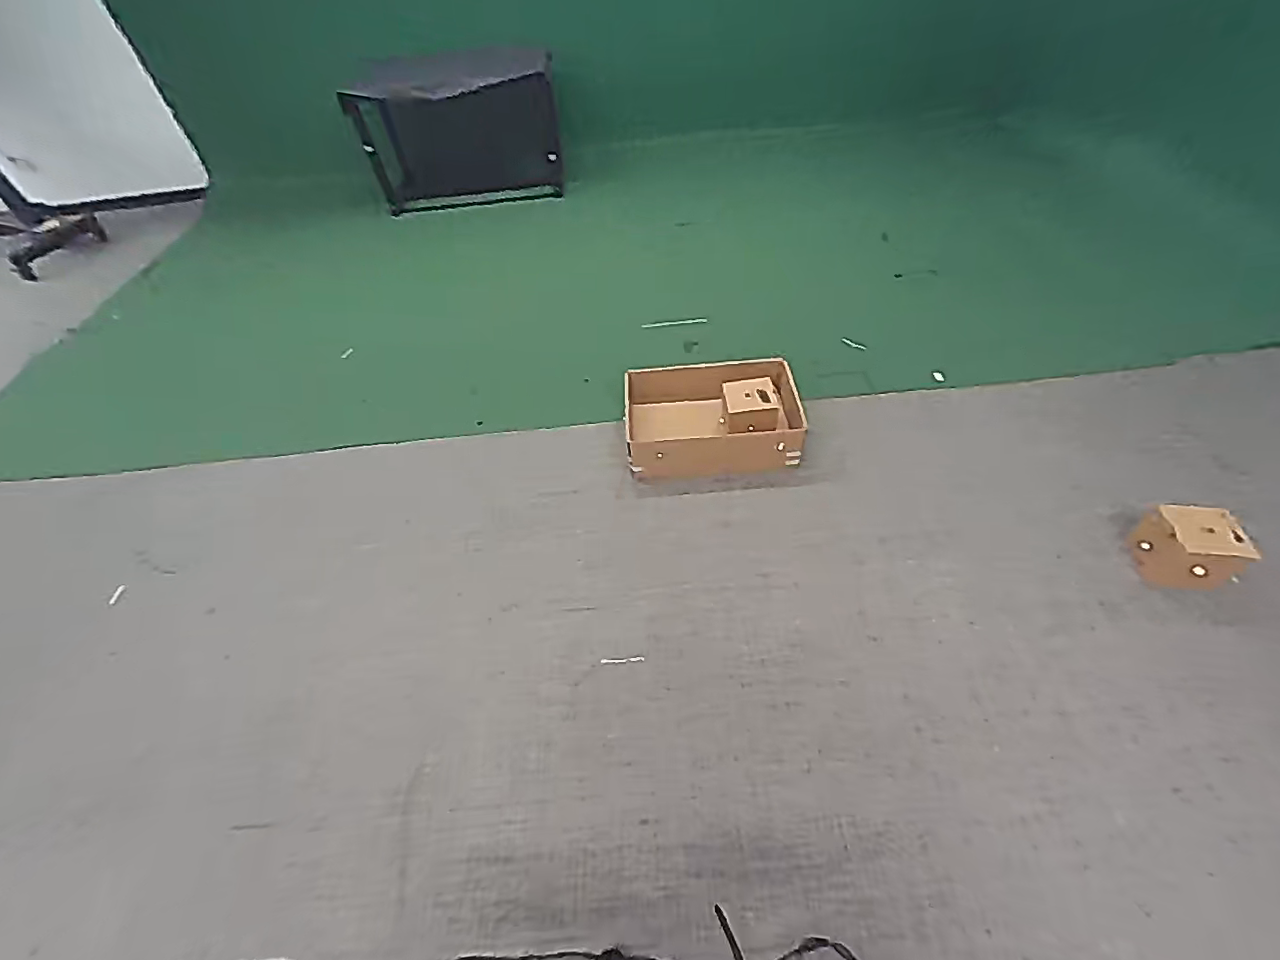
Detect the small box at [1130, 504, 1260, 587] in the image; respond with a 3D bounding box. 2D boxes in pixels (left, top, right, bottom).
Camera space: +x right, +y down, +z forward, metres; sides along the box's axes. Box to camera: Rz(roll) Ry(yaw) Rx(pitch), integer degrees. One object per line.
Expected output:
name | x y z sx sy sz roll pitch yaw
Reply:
small box | 1.529 0.186 1.512 0.179 0.176 0.168 3 50 10
